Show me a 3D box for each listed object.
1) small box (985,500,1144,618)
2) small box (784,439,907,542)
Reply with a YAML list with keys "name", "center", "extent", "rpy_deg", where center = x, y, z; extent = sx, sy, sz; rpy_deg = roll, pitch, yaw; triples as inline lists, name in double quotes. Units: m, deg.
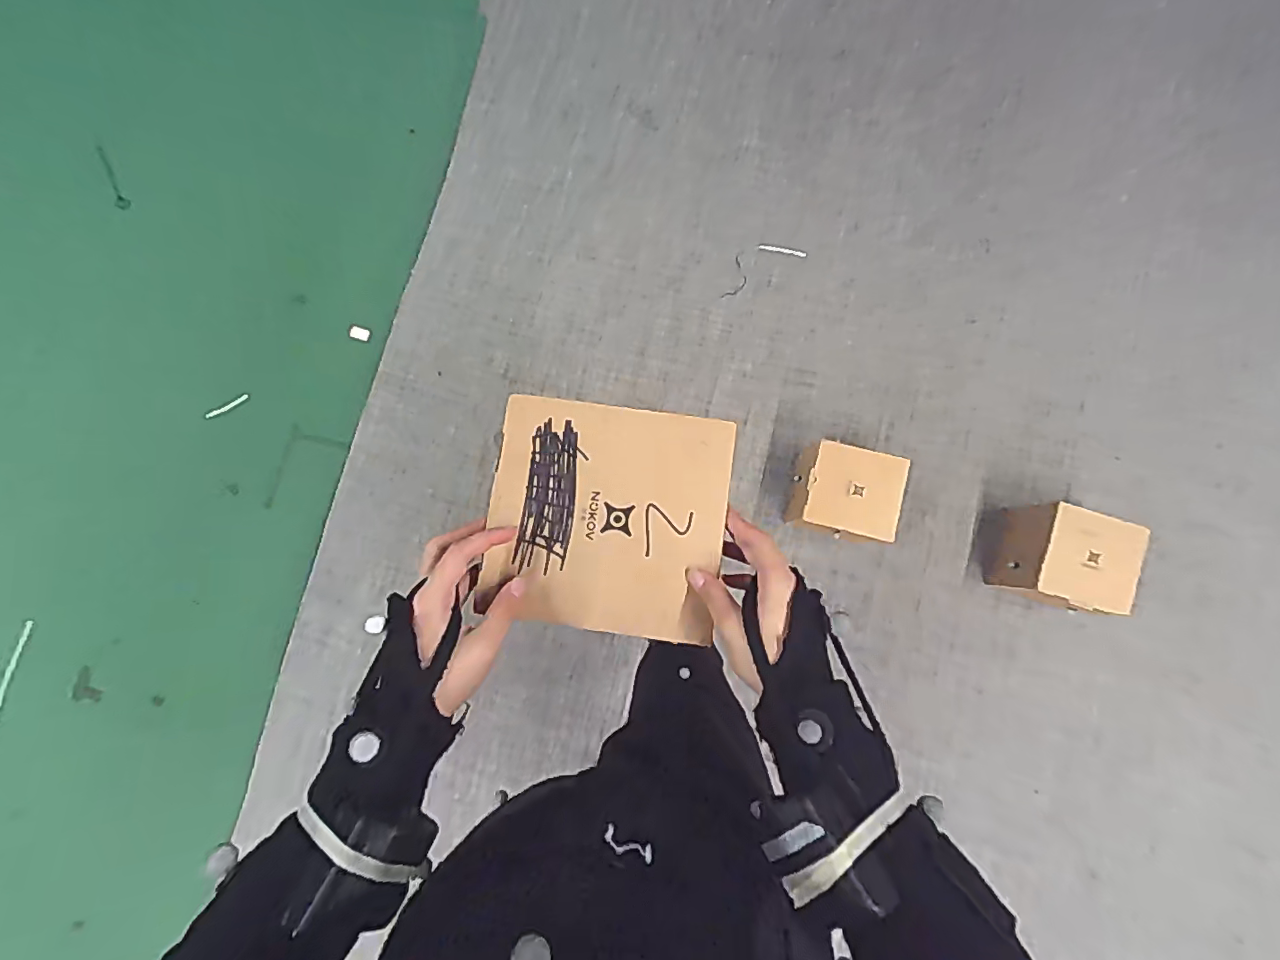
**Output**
- name: "small box"
  center: [0.822, 0.153, 1.067]
  extent: [0.168, 0.176, 0.179]
  rpy_deg: [18, 84, 5]
- name: "small box"
  center: [0.413, 0.027, 1.111]
  extent: [0.179, 0.176, 0.168]
  rpy_deg: [14, 84, 6]
